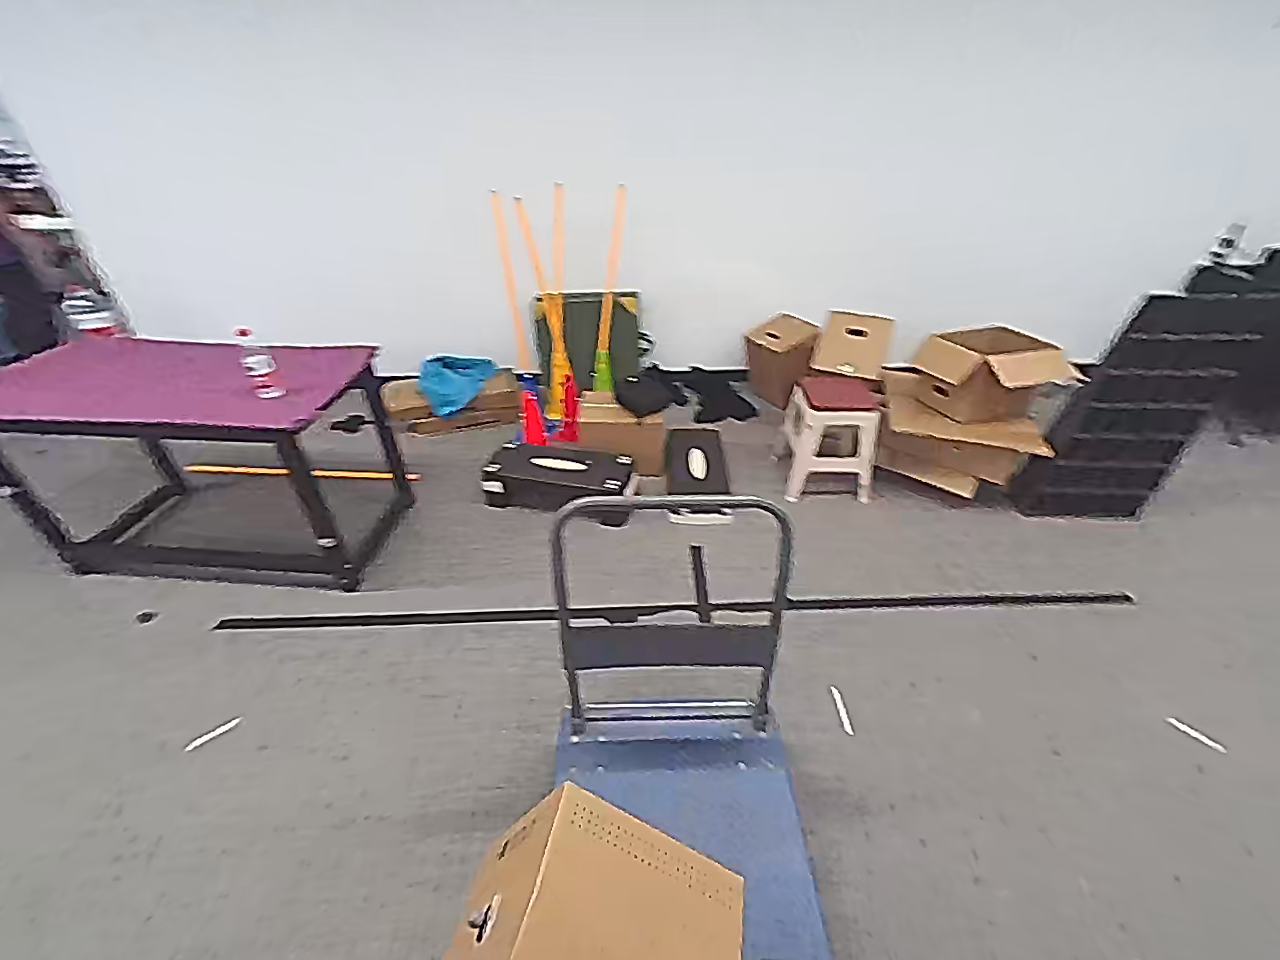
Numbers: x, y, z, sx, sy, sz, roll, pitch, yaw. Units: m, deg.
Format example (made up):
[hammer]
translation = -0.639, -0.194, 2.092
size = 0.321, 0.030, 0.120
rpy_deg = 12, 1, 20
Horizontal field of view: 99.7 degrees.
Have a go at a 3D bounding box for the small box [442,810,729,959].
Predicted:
[small box]
translation = -0.051, 0.382, 0.405
size = 0.179, 0.168, 0.176
rpy_deg = 33, 32, -9
